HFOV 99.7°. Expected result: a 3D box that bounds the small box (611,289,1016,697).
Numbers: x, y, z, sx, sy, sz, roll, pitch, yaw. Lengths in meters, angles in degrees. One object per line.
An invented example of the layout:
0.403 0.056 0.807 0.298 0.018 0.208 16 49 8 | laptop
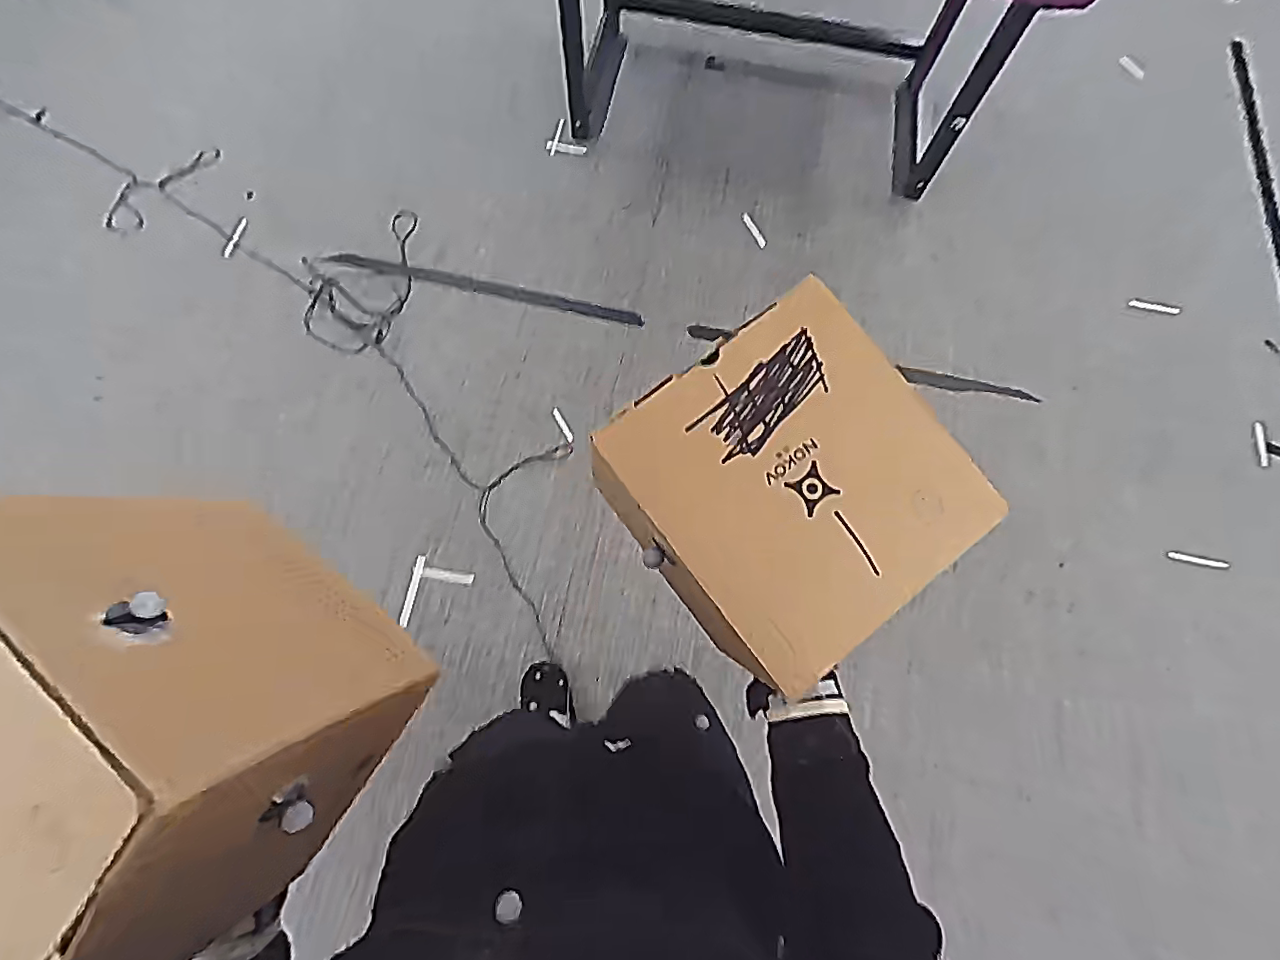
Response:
0.091 0.013 0.376 0.168 0.176 0.179 -37 86 -9 | small box
